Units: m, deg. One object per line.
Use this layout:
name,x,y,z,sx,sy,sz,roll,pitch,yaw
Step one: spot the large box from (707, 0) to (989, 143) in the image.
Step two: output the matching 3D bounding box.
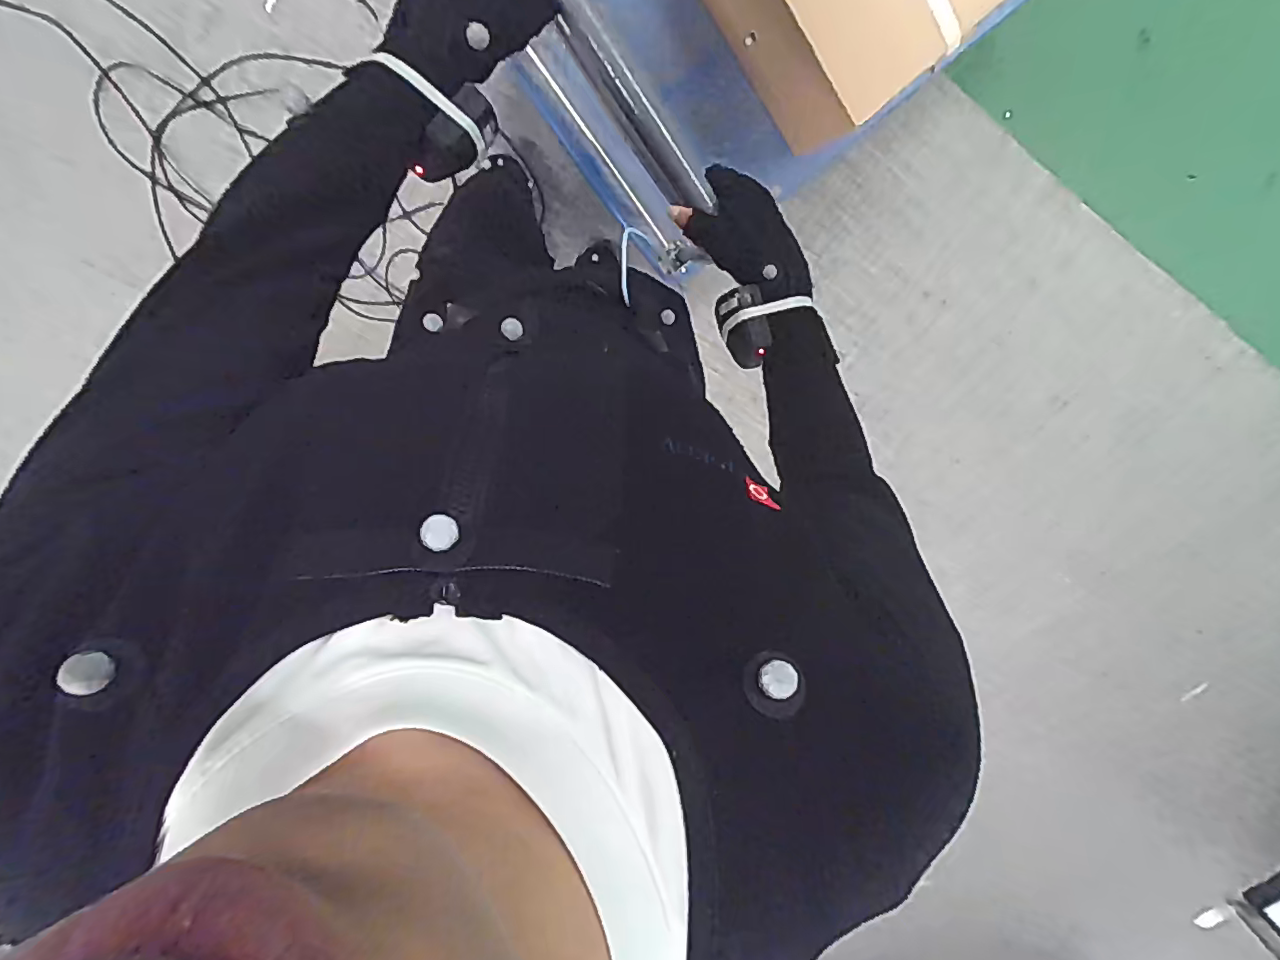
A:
large box,0.301,-0.820,0.830,0.320,0.320,0.408,-38,111,14
